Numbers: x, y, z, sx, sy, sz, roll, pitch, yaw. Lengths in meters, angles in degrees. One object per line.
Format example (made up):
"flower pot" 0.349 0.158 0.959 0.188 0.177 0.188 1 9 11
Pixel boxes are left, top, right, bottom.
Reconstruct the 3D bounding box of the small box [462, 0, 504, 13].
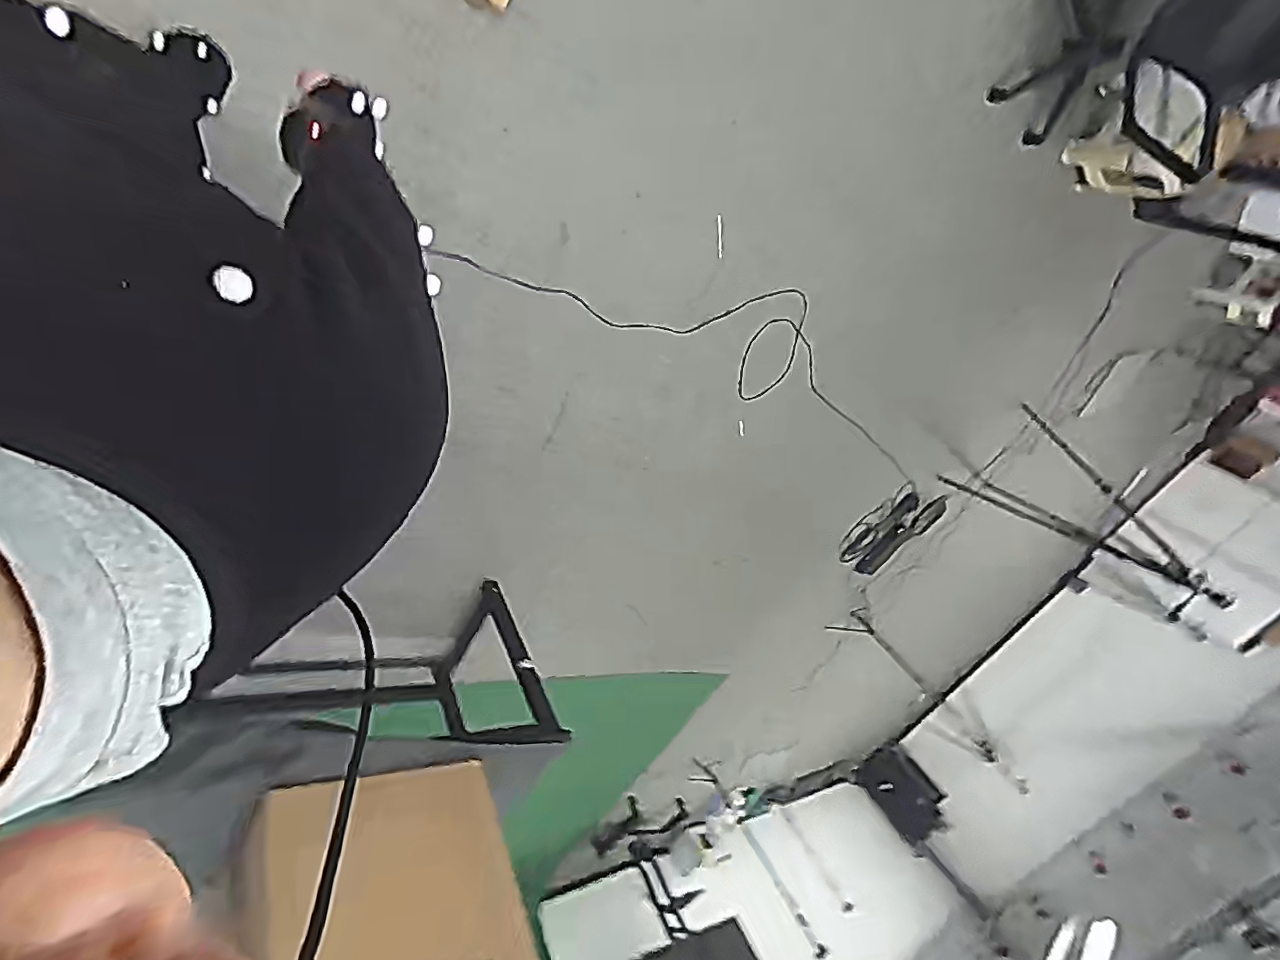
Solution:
"small box" -0.328 -1.051 1.040 0.168 0.176 0.179 17 114 -43
